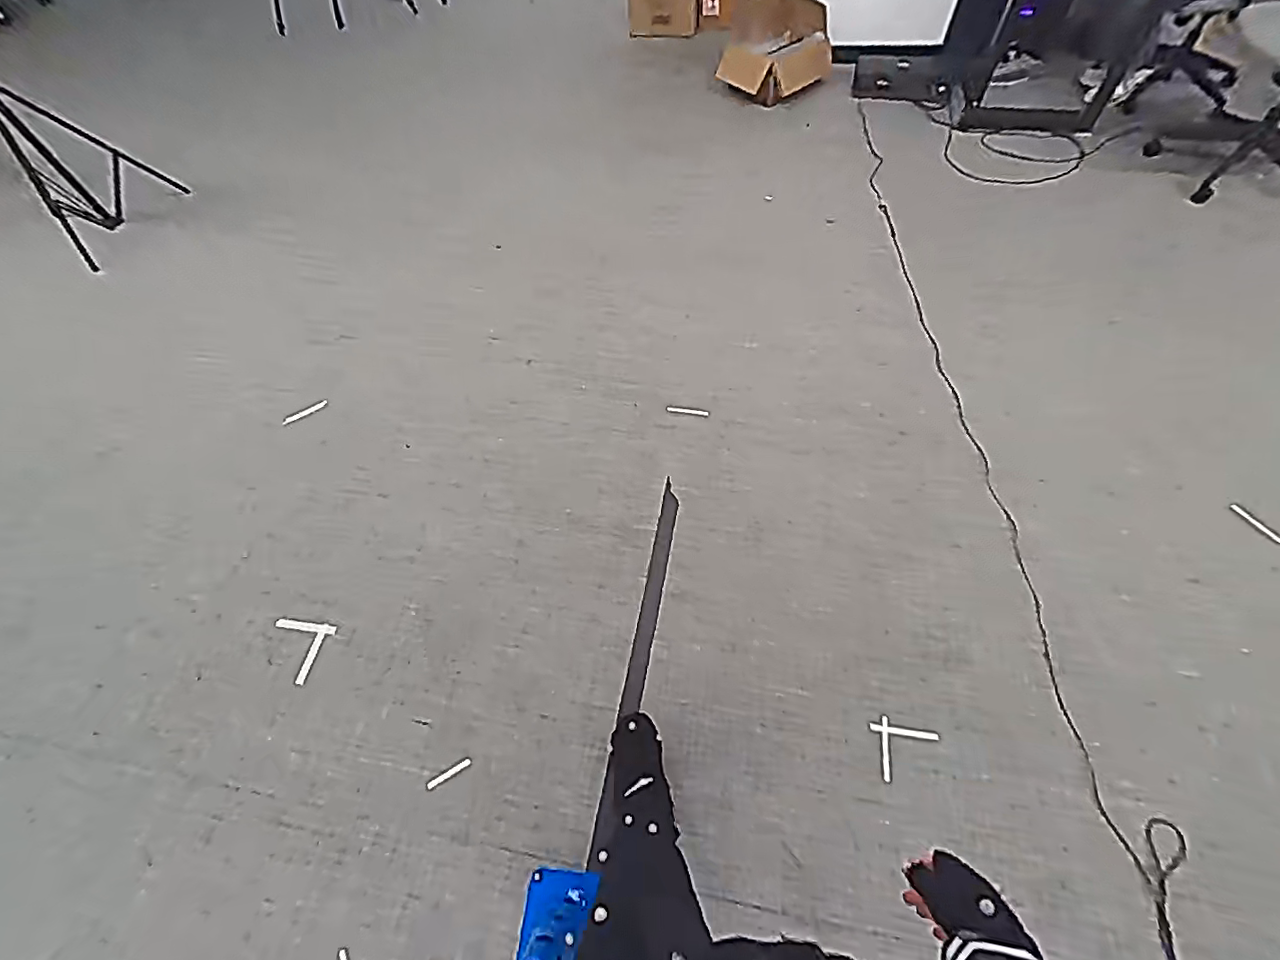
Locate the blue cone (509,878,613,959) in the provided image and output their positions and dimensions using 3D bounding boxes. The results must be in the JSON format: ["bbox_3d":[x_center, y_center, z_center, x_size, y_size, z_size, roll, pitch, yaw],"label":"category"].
[{"bbox_3d":[-0.165,0.843,0.959,0.192,0.380,0.193,4,58,7],"label":"blue cone"}]
